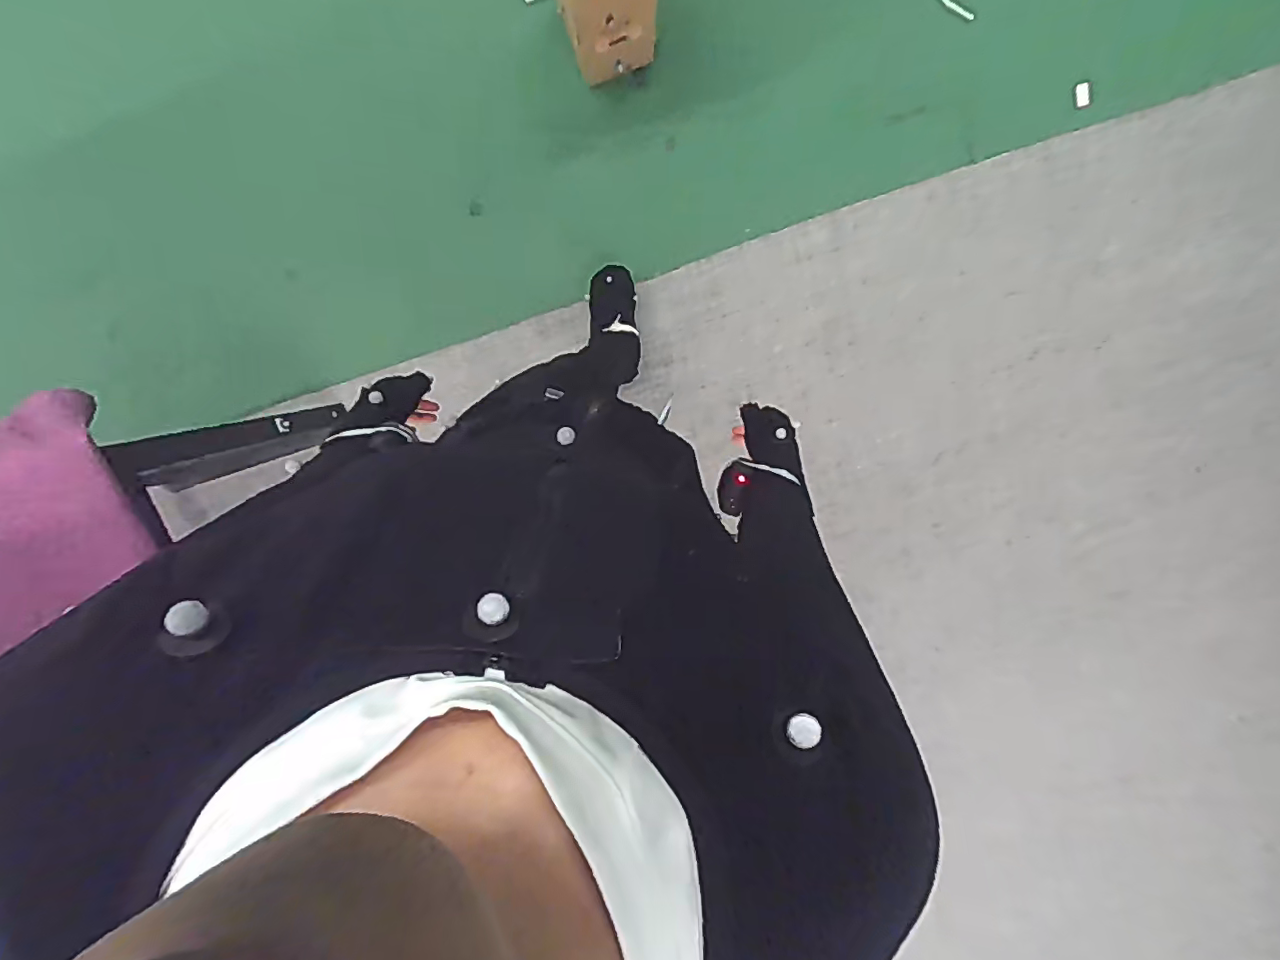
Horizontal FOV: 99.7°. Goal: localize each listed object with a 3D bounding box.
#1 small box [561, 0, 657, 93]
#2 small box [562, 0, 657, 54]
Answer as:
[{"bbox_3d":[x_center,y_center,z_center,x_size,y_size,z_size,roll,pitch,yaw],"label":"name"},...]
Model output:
[{"bbox_3d":[-0.070,-0.990,1.164,0.168,0.176,0.179,-19,102,4],"label":"small box"},{"bbox_3d":[-0.072,-0.955,1.005,0.168,0.176,0.179,-21,102,4],"label":"small box"}]
